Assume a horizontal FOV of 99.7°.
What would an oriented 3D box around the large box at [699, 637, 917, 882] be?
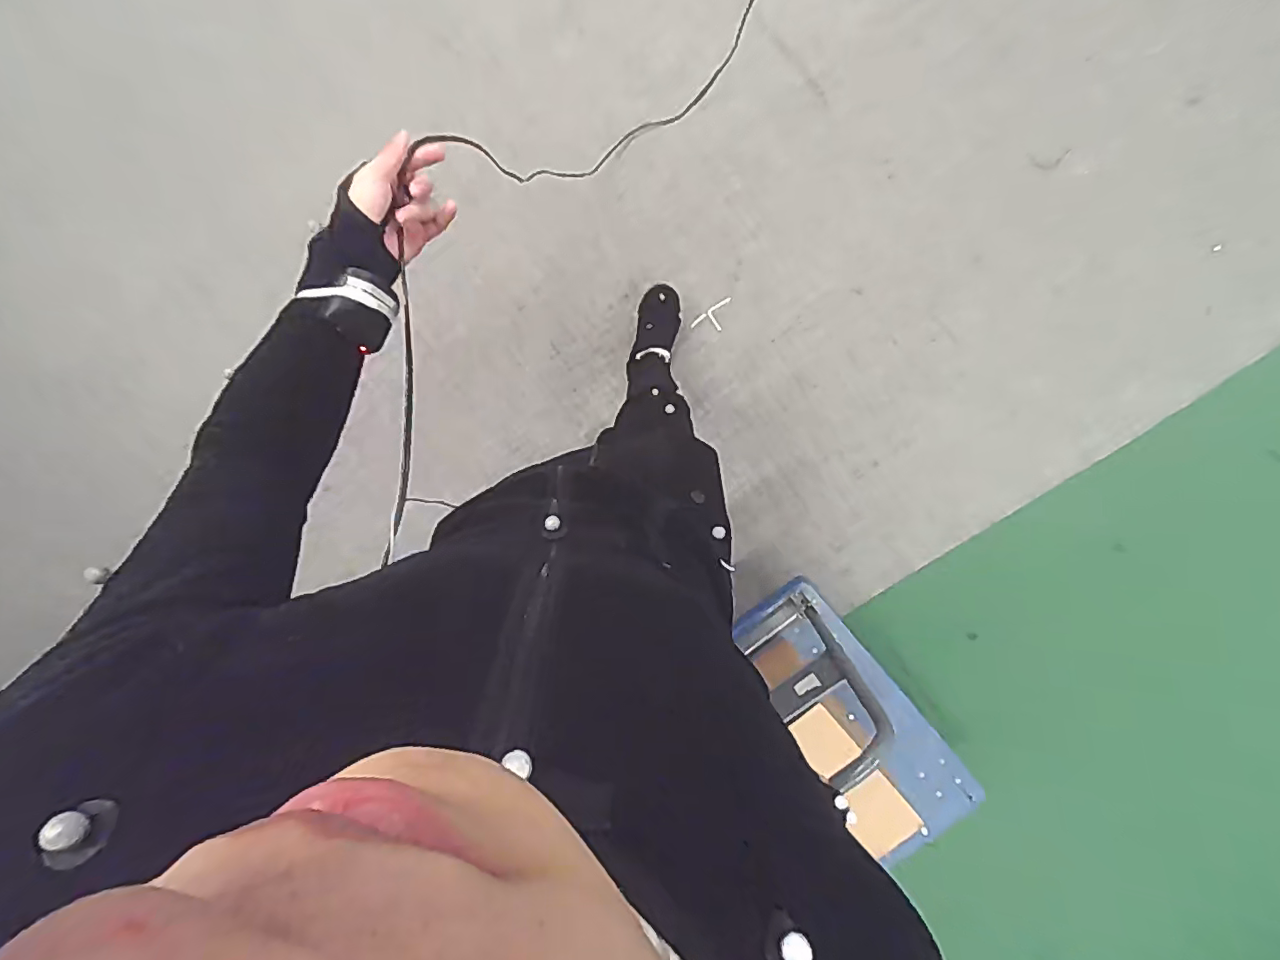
[{"bbox_3d":[0.405,0.696,1.398,0.320,0.320,0.408,-40,97,8],"label":"large box"}]
